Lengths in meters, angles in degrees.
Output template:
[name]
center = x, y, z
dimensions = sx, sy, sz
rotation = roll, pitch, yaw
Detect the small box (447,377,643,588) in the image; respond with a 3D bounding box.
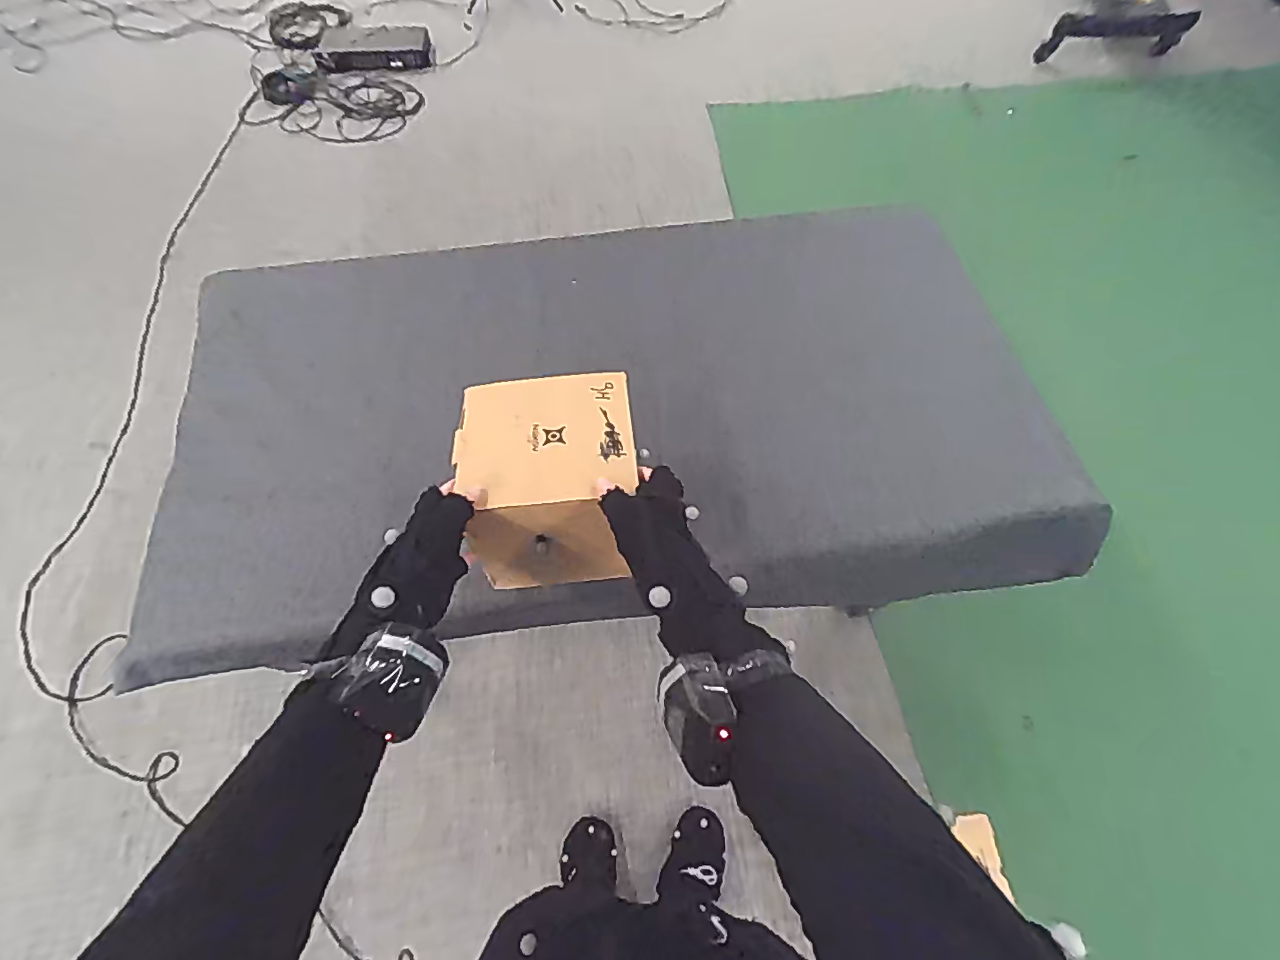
[small box]
center = -0.092, 0.009, 0.601
dimensions = 0.179, 0.176, 0.168
rotation = -5, 54, -1
